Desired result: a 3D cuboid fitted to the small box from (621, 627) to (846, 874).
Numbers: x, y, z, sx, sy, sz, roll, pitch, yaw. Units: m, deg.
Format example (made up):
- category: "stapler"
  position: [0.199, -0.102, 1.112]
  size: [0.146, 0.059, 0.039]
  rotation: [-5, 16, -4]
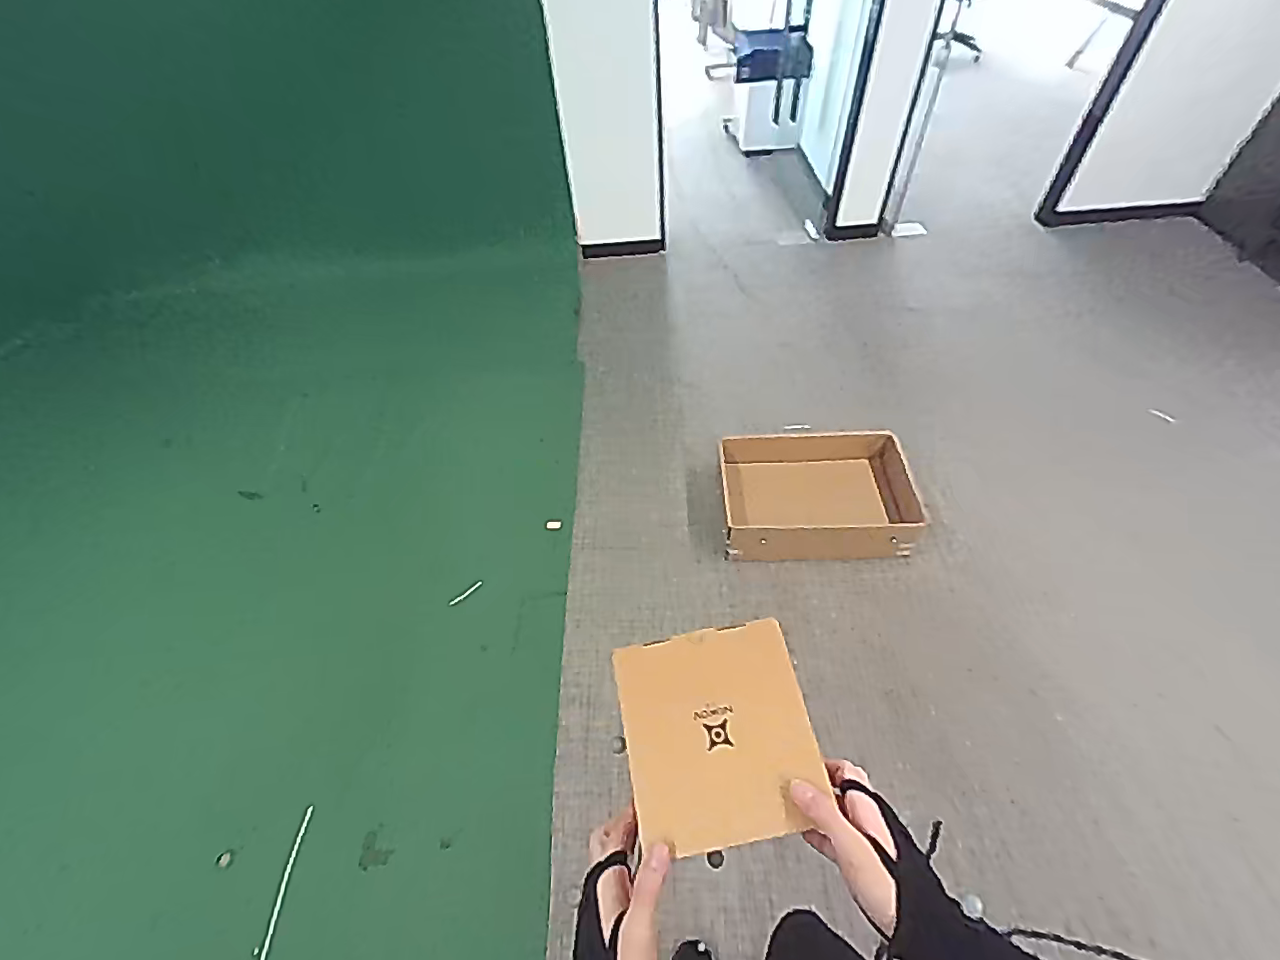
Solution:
- category: "small box"
  position: [0.080, 0.269, 0.540]
  size: [0.168, 0.176, 0.179]
  rotation: [-10, 56, -2]
